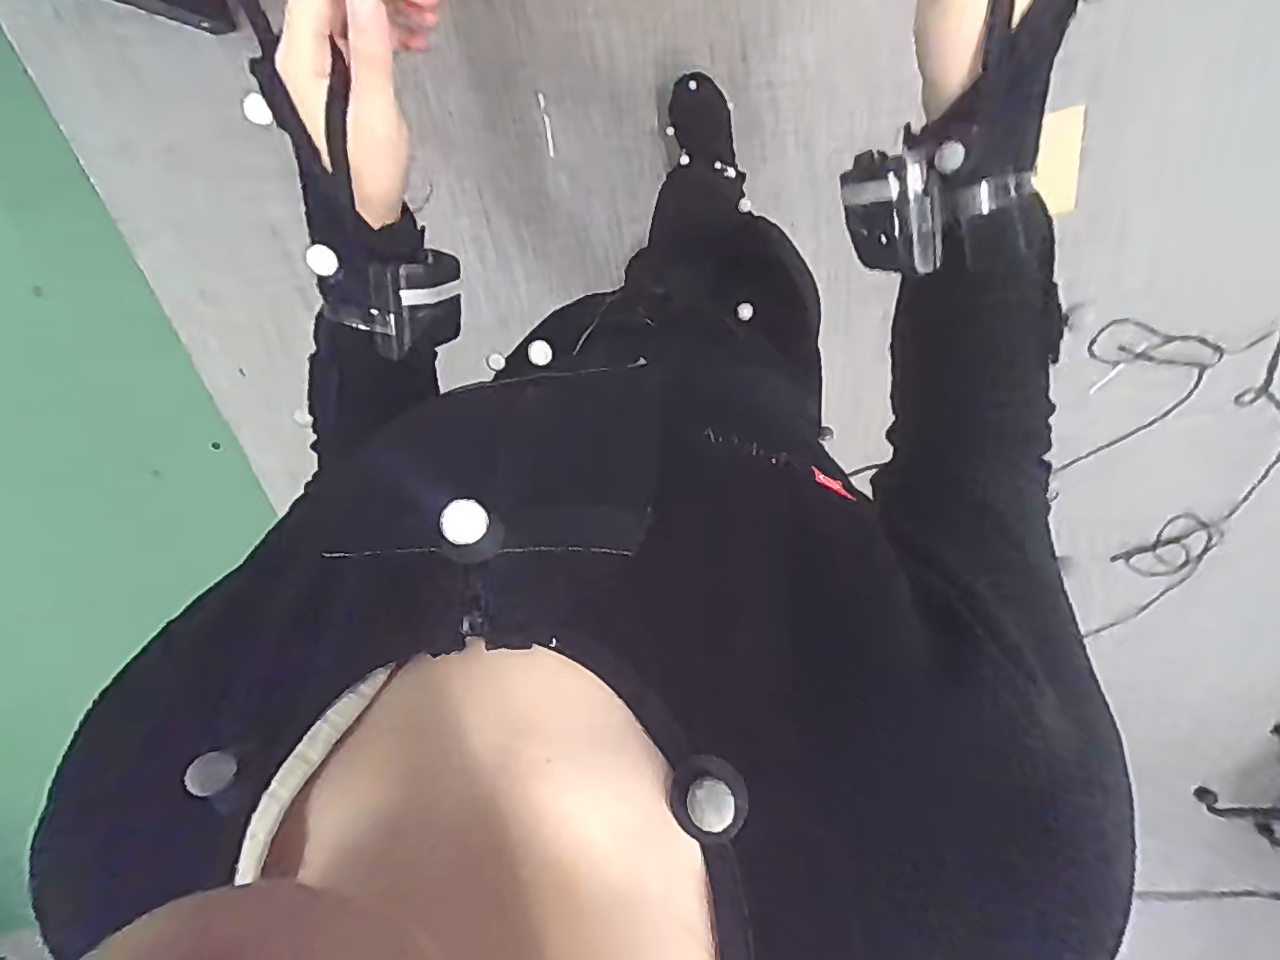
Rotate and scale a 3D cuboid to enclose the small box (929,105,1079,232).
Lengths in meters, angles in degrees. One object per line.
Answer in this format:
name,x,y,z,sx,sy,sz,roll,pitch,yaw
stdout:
small box,0.677,-0.584,1.026,0.179,0.176,0.168,-12,116,8
